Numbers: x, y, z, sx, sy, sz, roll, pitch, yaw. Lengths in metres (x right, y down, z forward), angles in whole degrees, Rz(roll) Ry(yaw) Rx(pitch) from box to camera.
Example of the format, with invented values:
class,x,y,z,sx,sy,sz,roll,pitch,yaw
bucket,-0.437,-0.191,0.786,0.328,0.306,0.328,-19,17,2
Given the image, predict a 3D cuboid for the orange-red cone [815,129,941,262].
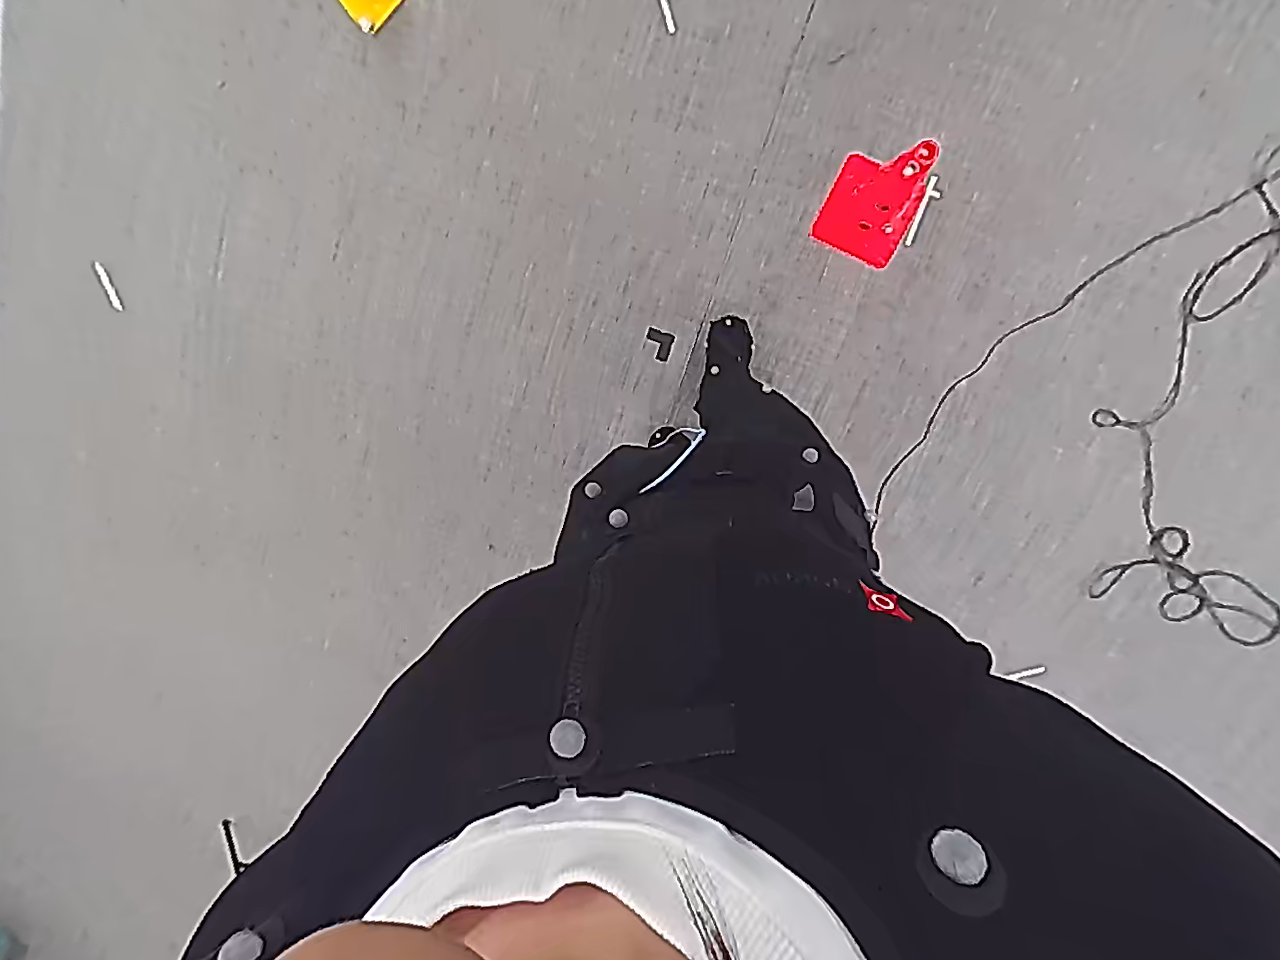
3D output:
class,x,y,z,sx,sy,sz,roll,pitch,yaw
orange-red cone,0.502,-0.594,1.069,0.199,0.360,0.198,28,103,3
